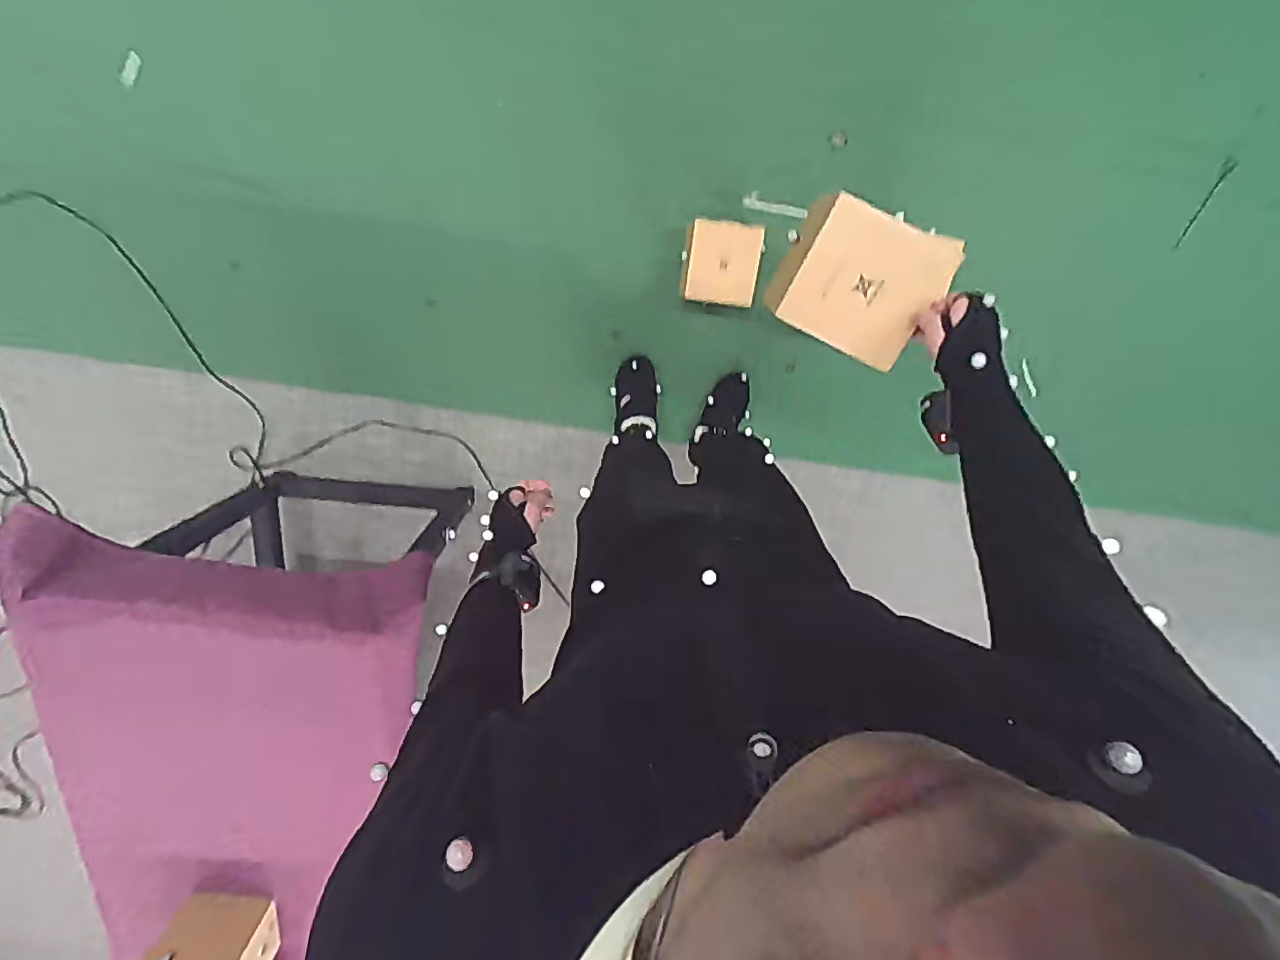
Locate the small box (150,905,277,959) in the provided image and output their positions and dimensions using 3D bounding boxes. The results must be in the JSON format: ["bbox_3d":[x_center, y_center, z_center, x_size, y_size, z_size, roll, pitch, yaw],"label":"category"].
[{"bbox_3d":[-0.863,0.989,1.073,0.179,0.176,0.168,8,109,-5],"label":"small box"}]

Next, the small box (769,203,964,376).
[{"bbox_3d":[0.307,-0.278,0.776,0.179,0.176,0.168,25,115,-6],"label":"small box"}]

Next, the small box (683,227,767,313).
[{"bbox_3d":[0.203,-0.518,1.348,0.168,0.176,0.179,6,108,-3],"label":"small box"}]

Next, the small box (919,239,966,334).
[{"bbox_3d":[0.577,-0.439,1.211,0.168,0.176,0.179,10,110,-6],"label":"small box"}]
